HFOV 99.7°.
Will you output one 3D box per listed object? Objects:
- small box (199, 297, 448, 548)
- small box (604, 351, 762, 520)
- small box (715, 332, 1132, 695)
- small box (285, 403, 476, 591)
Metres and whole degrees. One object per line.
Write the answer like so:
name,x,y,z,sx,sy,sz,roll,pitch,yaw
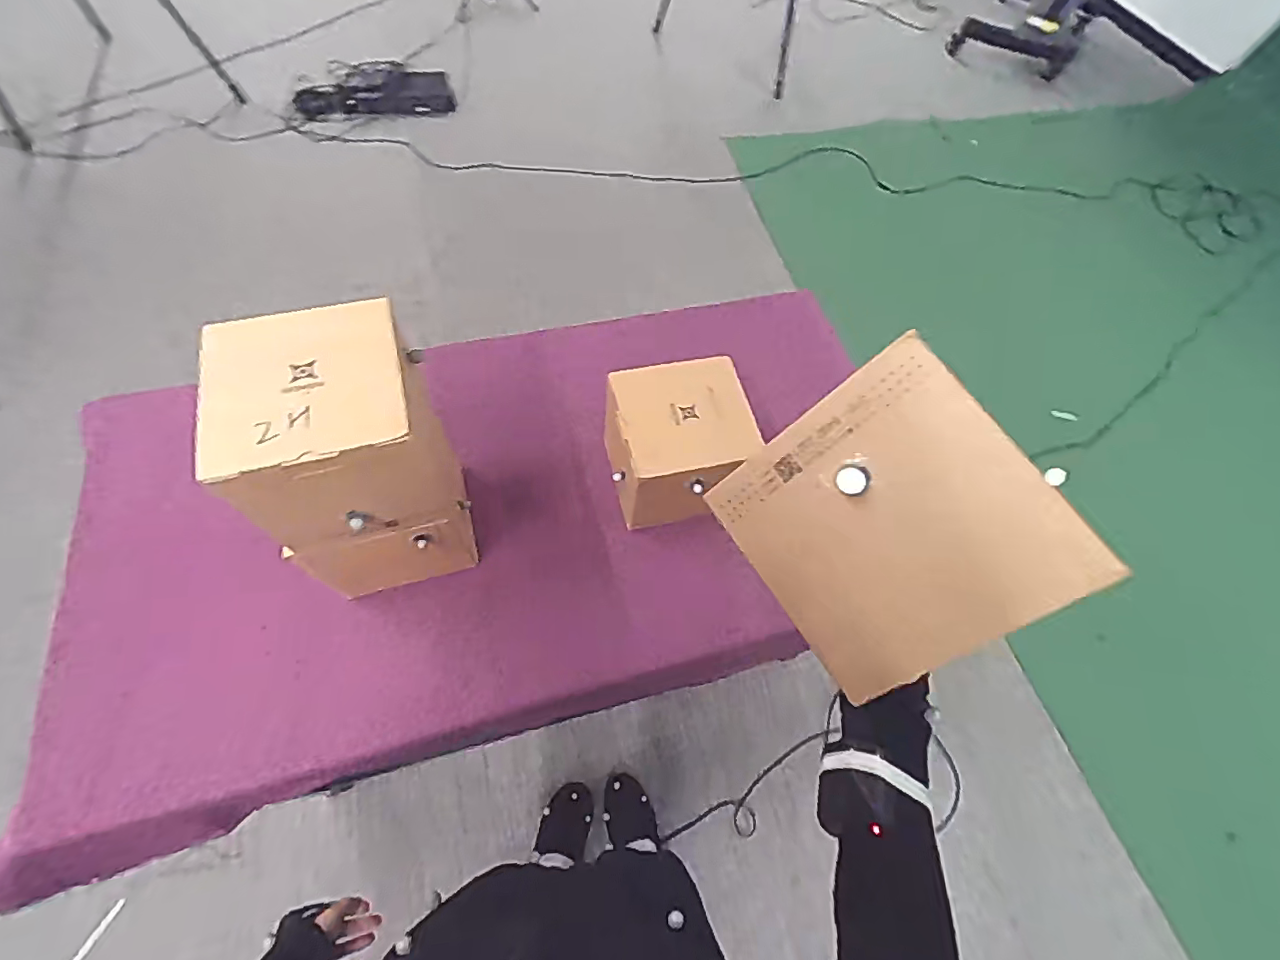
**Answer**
small box,-0.310,-0.054,0.559,0.168,0.176,0.179,-15,64,-12
small box,0.049,-0.057,0.775,0.179,0.176,0.168,-11,65,-11
small box,0.186,0.014,0.394,0.176,0.168,0.179,55,28,13
small box,-0.328,0.028,0.701,0.179,0.176,0.168,-15,65,-13
